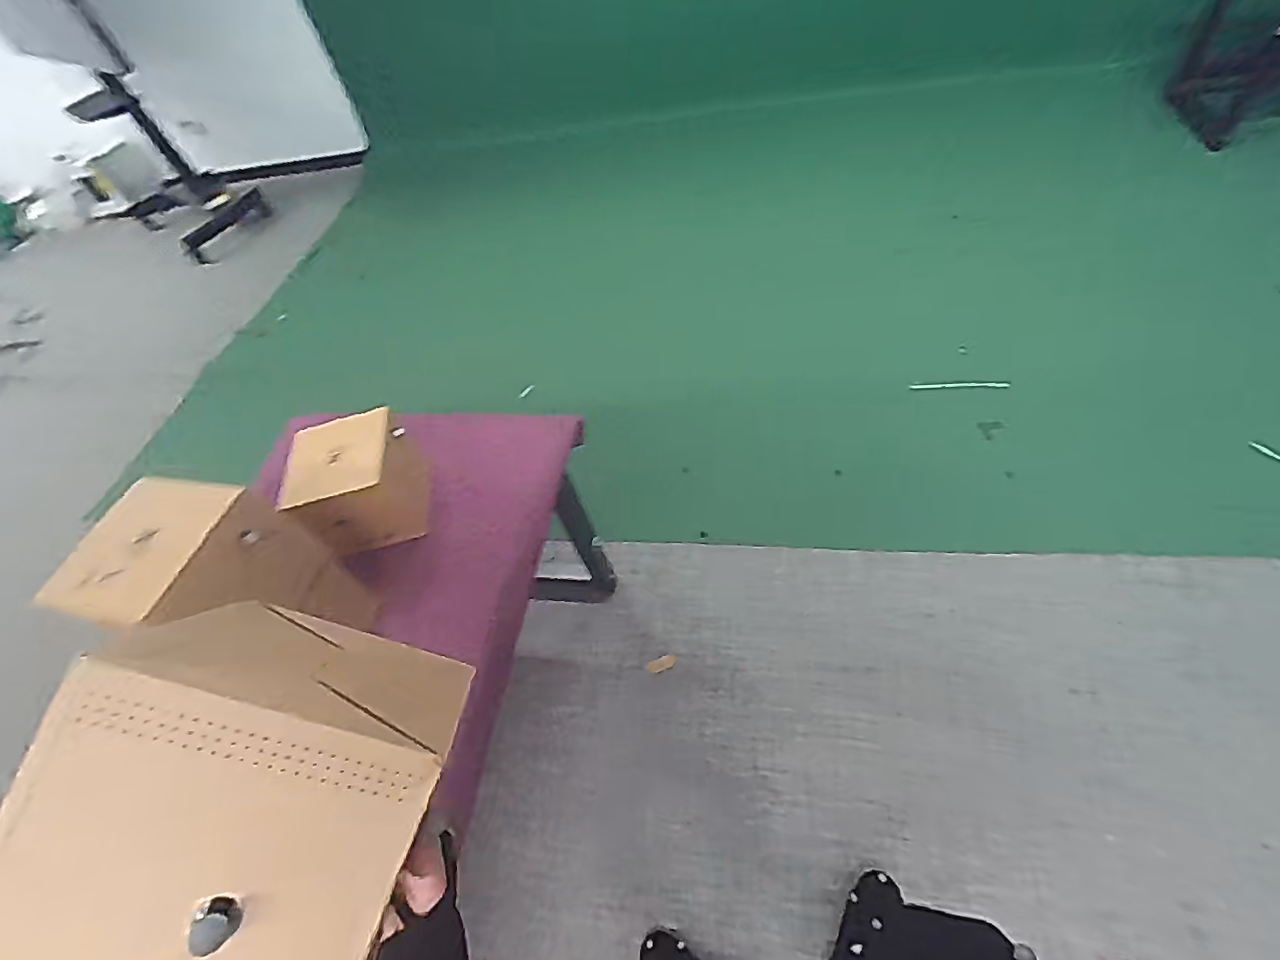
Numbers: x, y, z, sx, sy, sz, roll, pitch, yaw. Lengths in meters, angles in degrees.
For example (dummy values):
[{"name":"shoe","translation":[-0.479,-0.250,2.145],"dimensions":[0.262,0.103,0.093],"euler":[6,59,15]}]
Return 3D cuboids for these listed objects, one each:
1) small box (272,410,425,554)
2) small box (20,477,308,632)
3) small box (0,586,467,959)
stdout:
[{"name":"small box","translation":[-0.493,0.013,0.945],"dimensions":[0.168,0.176,0.179],"euler":[-15,53,0]},{"name":"small box","translation":[-0.559,0.120,0.670],"dimensions":[0.168,0.176,0.179],"euler":[5,55,15]},{"name":"small box","translation":[-0.216,0.178,0.322],"dimensions":[0.179,0.168,0.176],"euler":[22,83,-10]}]
